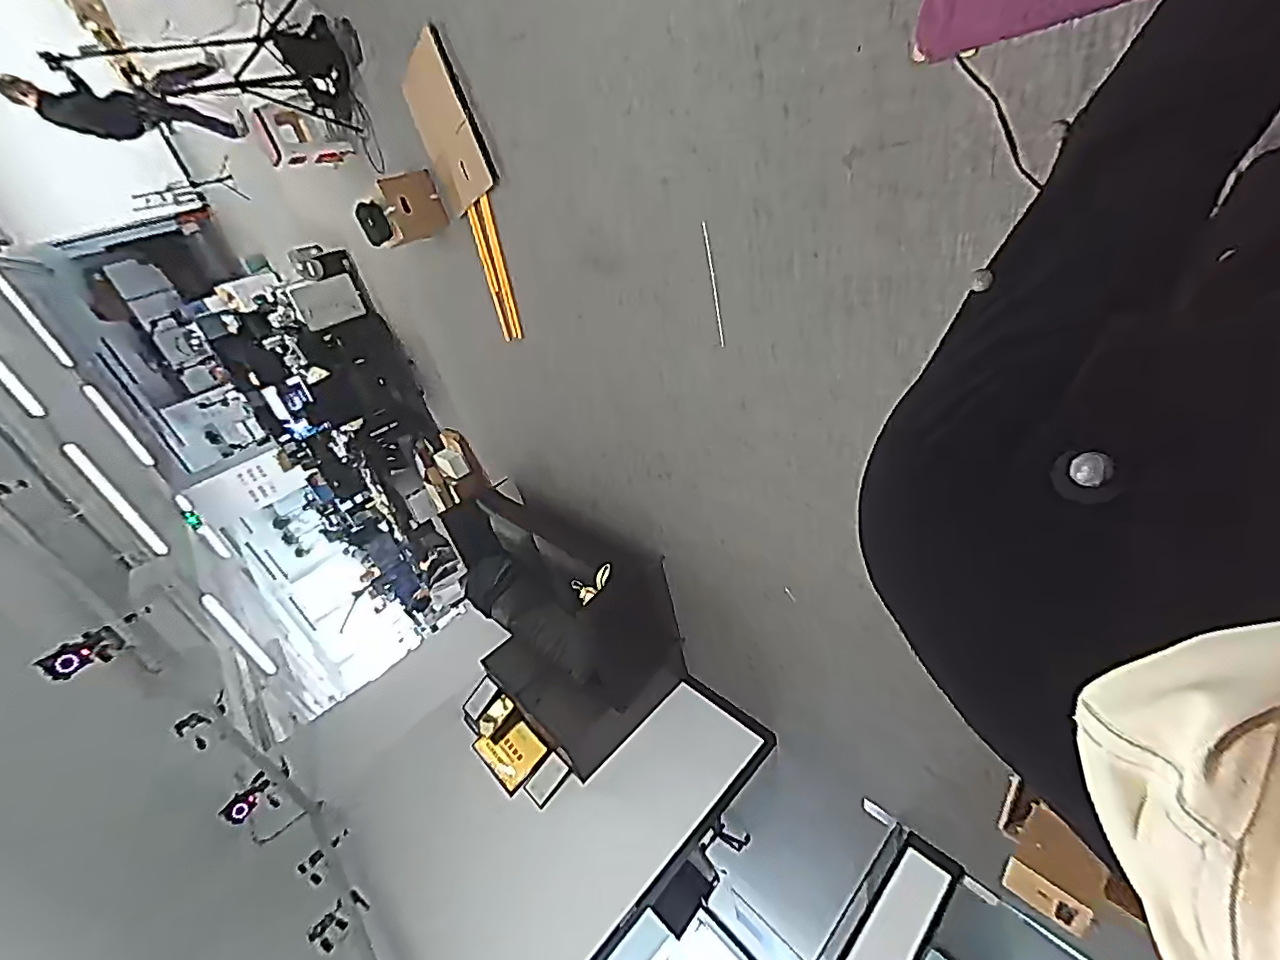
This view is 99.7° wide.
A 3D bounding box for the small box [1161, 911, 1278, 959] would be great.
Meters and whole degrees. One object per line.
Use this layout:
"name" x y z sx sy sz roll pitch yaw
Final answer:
"small box" 1.258 1.092 1.165 0.168 0.176 0.179 24 138 40
